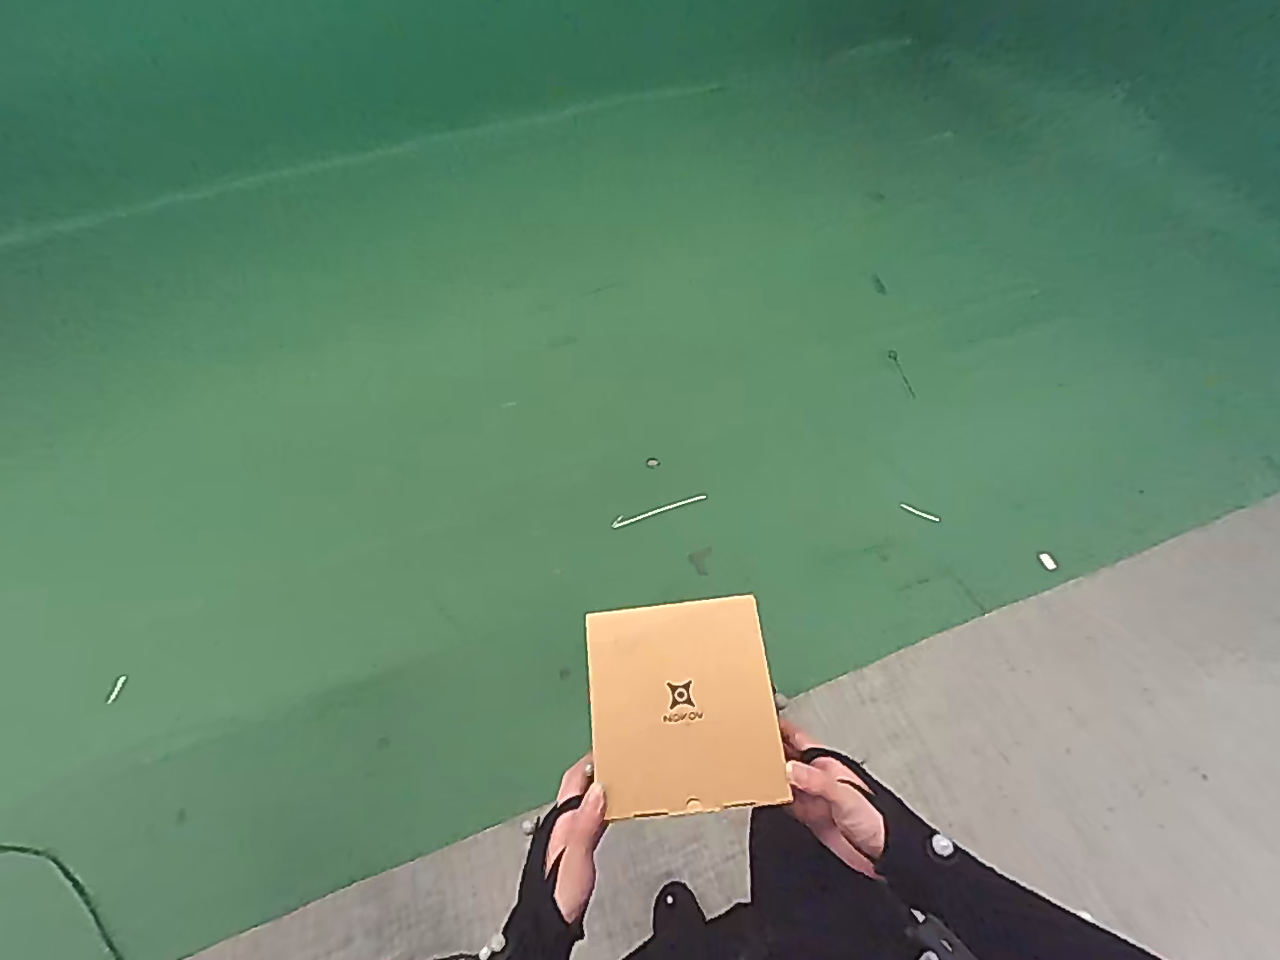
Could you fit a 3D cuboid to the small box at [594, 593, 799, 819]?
[{"bbox_3d":[0.047,0.228,0.555,0.168,0.176,0.179,-7,65,1],"label":"small box"}]
